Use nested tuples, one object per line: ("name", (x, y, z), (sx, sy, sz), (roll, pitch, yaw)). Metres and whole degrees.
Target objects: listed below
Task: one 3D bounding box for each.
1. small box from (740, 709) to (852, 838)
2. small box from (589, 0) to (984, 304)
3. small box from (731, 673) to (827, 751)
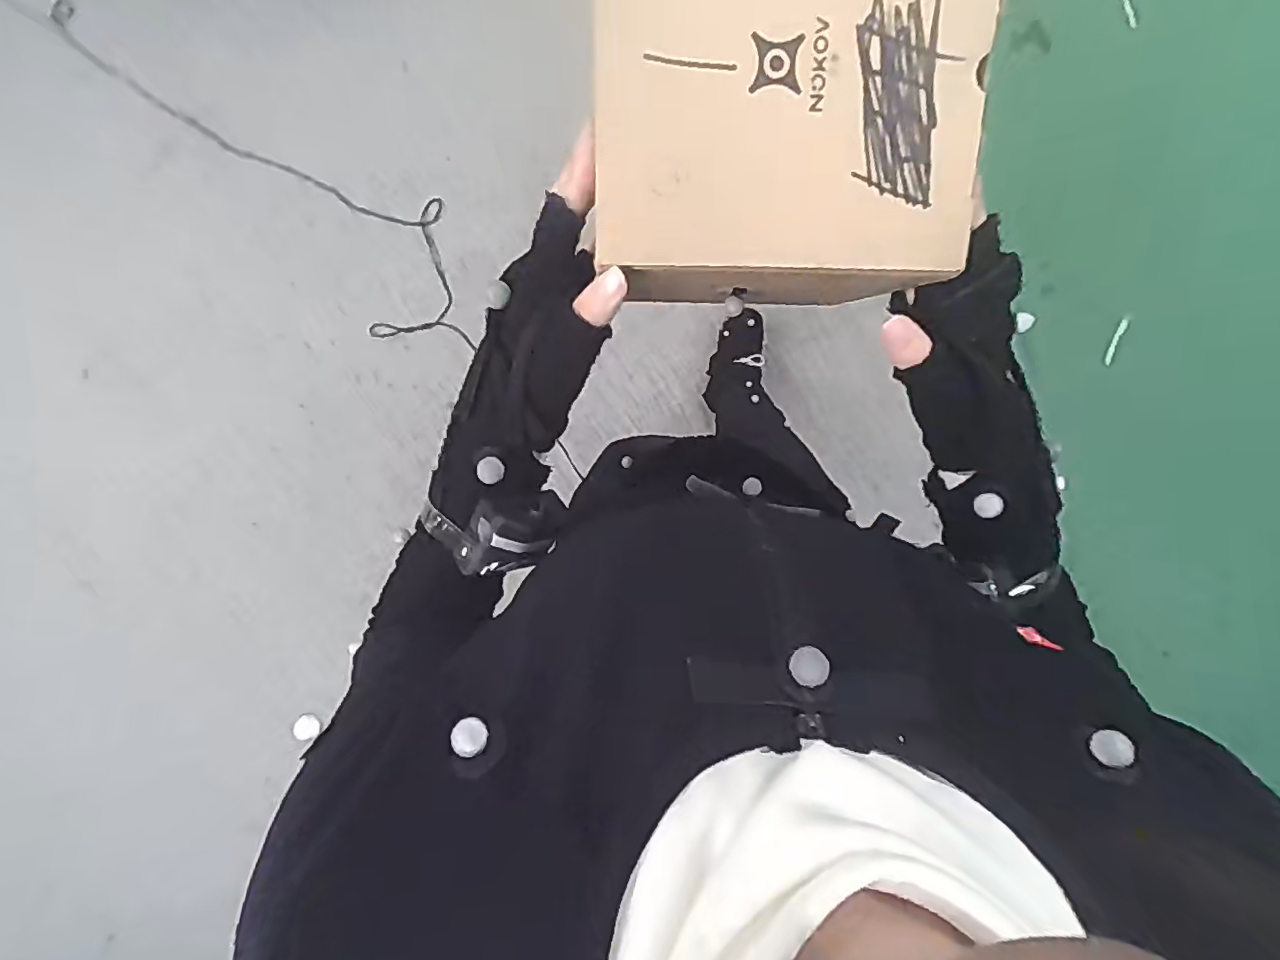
("small box", (0.347, 0.658, 1.240), (0.168, 0.176, 0.179), (-31, 98, 7))
("small box", (0.062, -0.198, 0.319), (0.179, 0.176, 0.168), (-3, 104, -2))
("small box", (0.353, 0.629, 1.400), (0.168, 0.176, 0.179), (-30, 97, 7))
